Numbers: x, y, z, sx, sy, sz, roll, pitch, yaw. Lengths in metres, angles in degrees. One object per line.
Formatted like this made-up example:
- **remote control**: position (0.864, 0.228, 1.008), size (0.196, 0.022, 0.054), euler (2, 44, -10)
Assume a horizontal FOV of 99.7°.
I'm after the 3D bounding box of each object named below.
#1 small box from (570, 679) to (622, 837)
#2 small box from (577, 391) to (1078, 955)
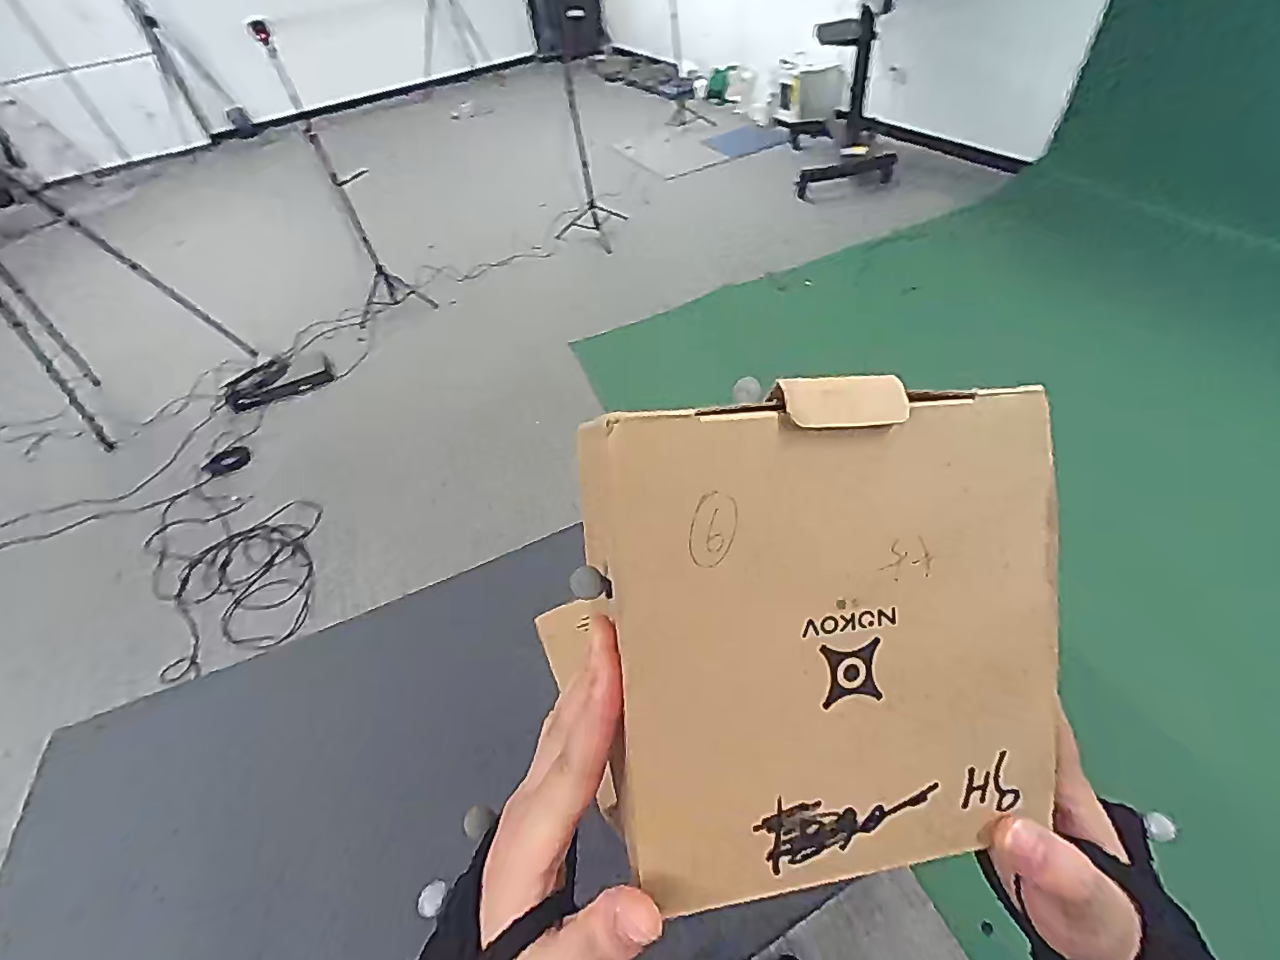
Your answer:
- **small box**: position (0.040, 0.312, 0.623), size (0.168, 0.176, 0.179), euler (-24, 47, -11)
- **small box**: position (0.060, 0.056, 0.259), size (0.168, 0.179, 0.176), euler (-4, 5, -9)
